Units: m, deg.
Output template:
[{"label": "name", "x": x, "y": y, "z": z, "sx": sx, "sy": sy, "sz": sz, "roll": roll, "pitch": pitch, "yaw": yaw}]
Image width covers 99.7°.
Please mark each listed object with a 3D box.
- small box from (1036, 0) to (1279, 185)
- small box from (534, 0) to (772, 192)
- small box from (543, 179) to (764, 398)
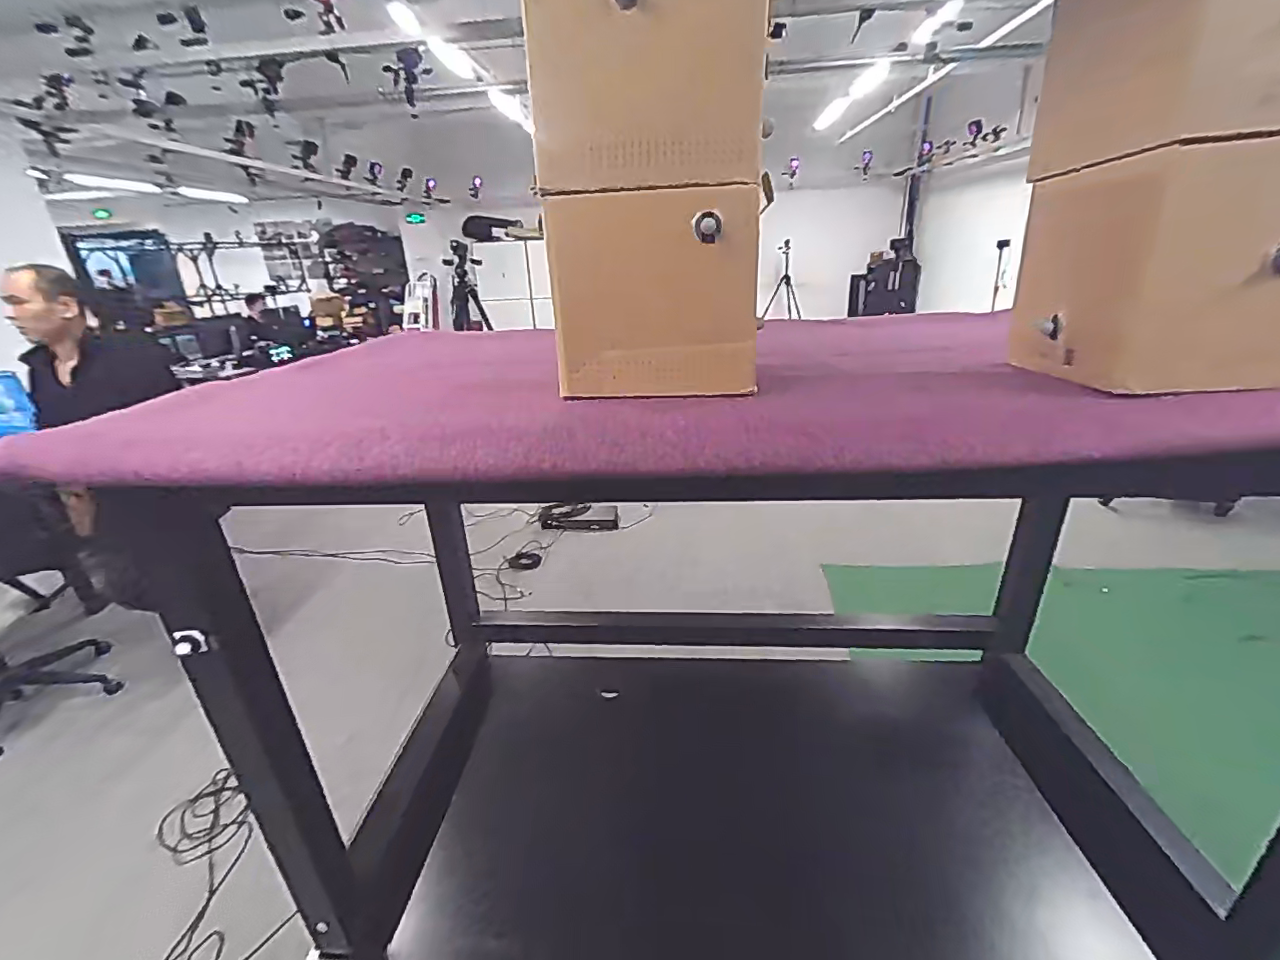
[{"label": "small box", "x": 0.426, "y": -0.322, "z": 0.384, "sx": 0.168, "sy": 0.176, "sz": 0.179, "roll": -2, "pitch": 21, "yaw": 7}, {"label": "small box", "x": 0.015, "y": -0.330, "z": 0.462, "sx": 0.179, "sy": 0.176, "sz": 0.168, "roll": 1, "pitch": 22, "yaw": 6}, {"label": "small box", "x": 0.020, "y": -0.175, "z": 0.517, "sx": 0.179, "sy": 0.176, "sz": 0.168, "roll": 0, "pitch": 22, "yaw": 6}]
